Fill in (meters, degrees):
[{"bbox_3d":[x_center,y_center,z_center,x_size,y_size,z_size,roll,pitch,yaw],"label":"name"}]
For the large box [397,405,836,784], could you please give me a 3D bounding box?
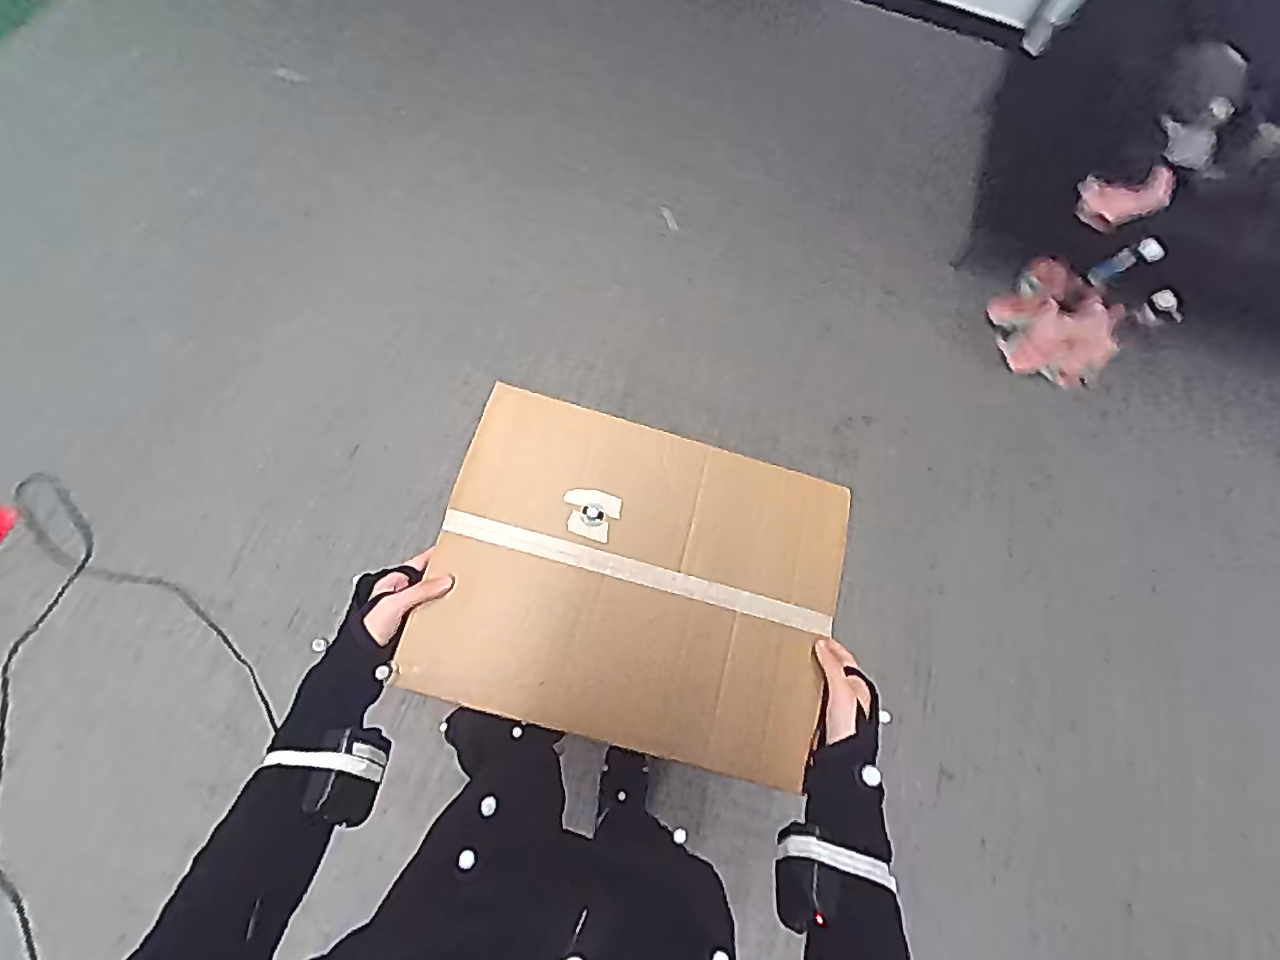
[{"bbox_3d":[-0.020,0.145,0.697,0.408,0.320,0.320,15,72,-3],"label":"large box"}]
